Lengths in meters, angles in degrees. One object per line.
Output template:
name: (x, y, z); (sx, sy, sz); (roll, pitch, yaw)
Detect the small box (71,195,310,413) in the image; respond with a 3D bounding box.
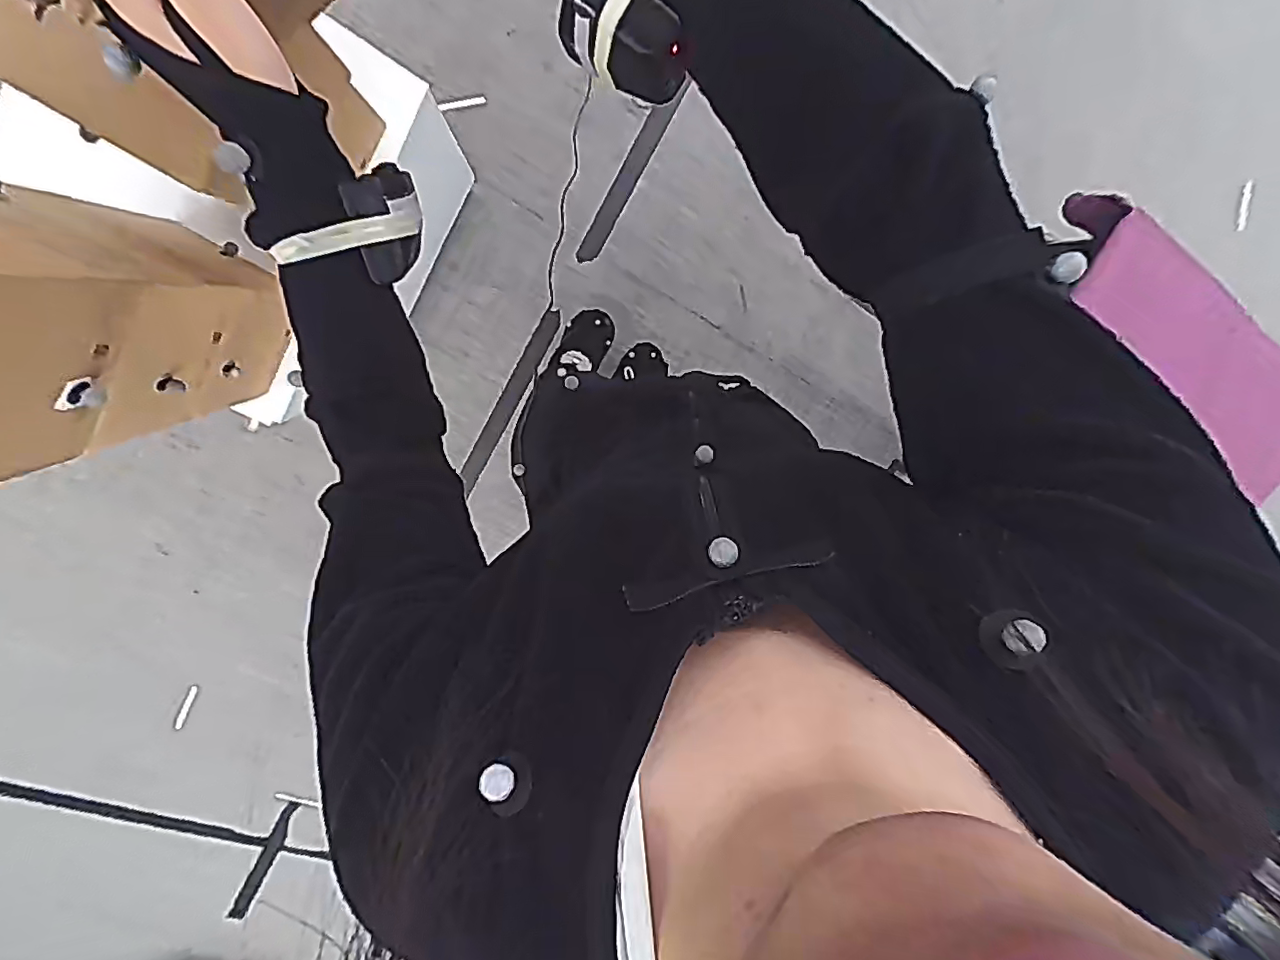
small box: (-0.547, -0.202, 0.653); (0.179, 0.176, 0.168); (28, 101, -17)

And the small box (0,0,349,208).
small box: (-0.386, -0.357, 0.454); (0.179, 0.176, 0.168); (29, 102, -19)

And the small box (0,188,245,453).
small box: (-0.517, -0.152, 0.501); (0.179, 0.176, 0.168); (26, 102, -17)
